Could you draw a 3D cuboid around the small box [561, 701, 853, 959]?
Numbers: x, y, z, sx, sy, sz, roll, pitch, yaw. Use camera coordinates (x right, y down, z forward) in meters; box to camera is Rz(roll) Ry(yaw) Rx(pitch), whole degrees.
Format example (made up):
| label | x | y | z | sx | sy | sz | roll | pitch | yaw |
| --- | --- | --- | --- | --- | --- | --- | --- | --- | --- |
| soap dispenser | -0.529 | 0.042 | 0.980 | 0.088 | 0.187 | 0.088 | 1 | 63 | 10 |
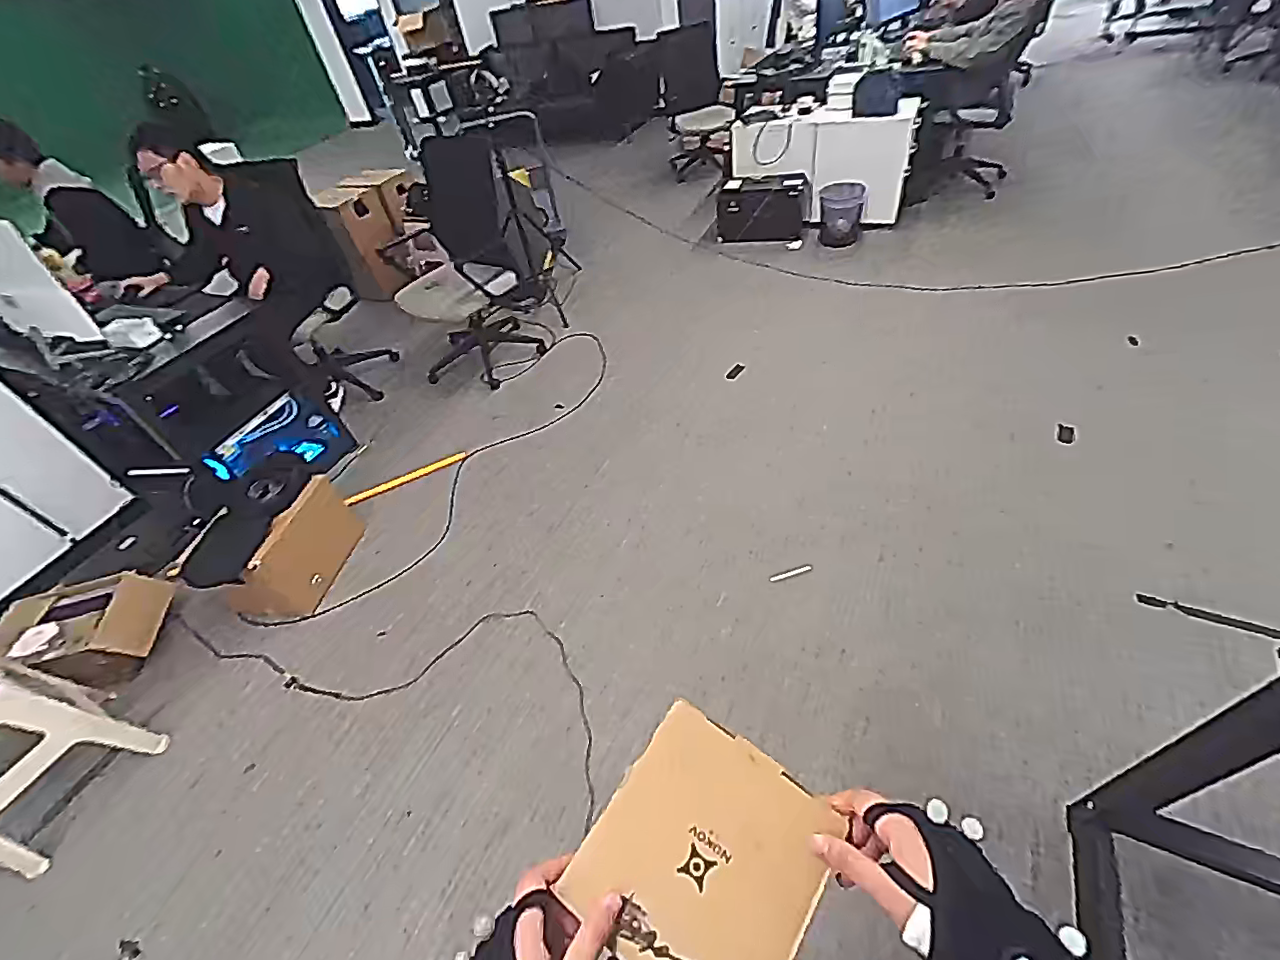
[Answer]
| label | x | y | z | sx | sy | sz | roll | pitch | yaw |
| --- | --- | --- | --- | --- | --- | --- | --- | --- | --- |
| small box | 0.057 | 0.337 | 0.480 | 0.168 | 0.176 | 0.179 | 29 | 62 | 23 |
